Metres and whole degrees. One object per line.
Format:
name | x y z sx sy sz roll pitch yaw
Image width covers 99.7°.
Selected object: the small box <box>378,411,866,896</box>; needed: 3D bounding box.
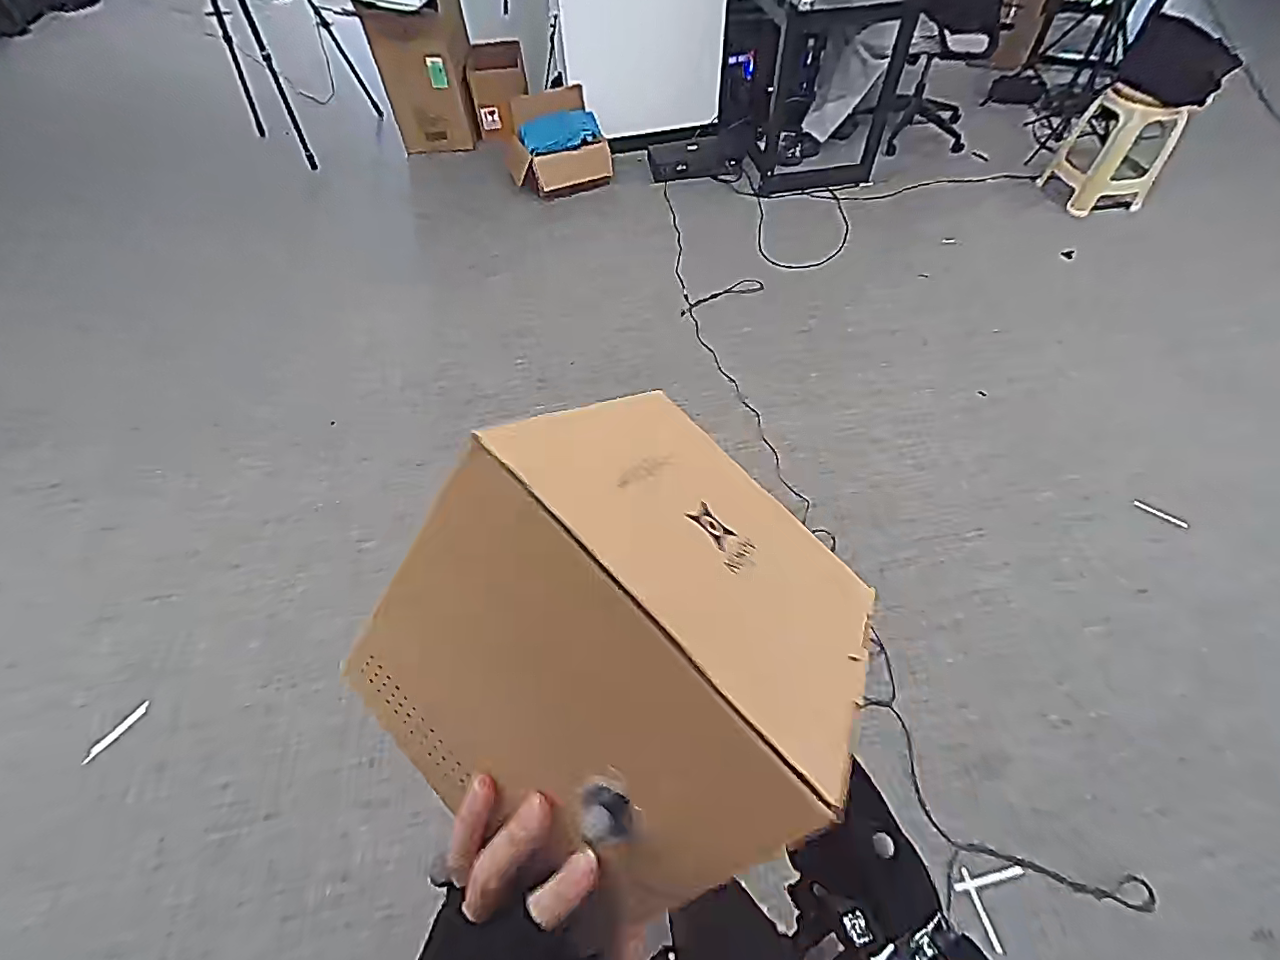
small box | -0.009 0.087 0.306 0.179 0.176 0.168 44 29 13
